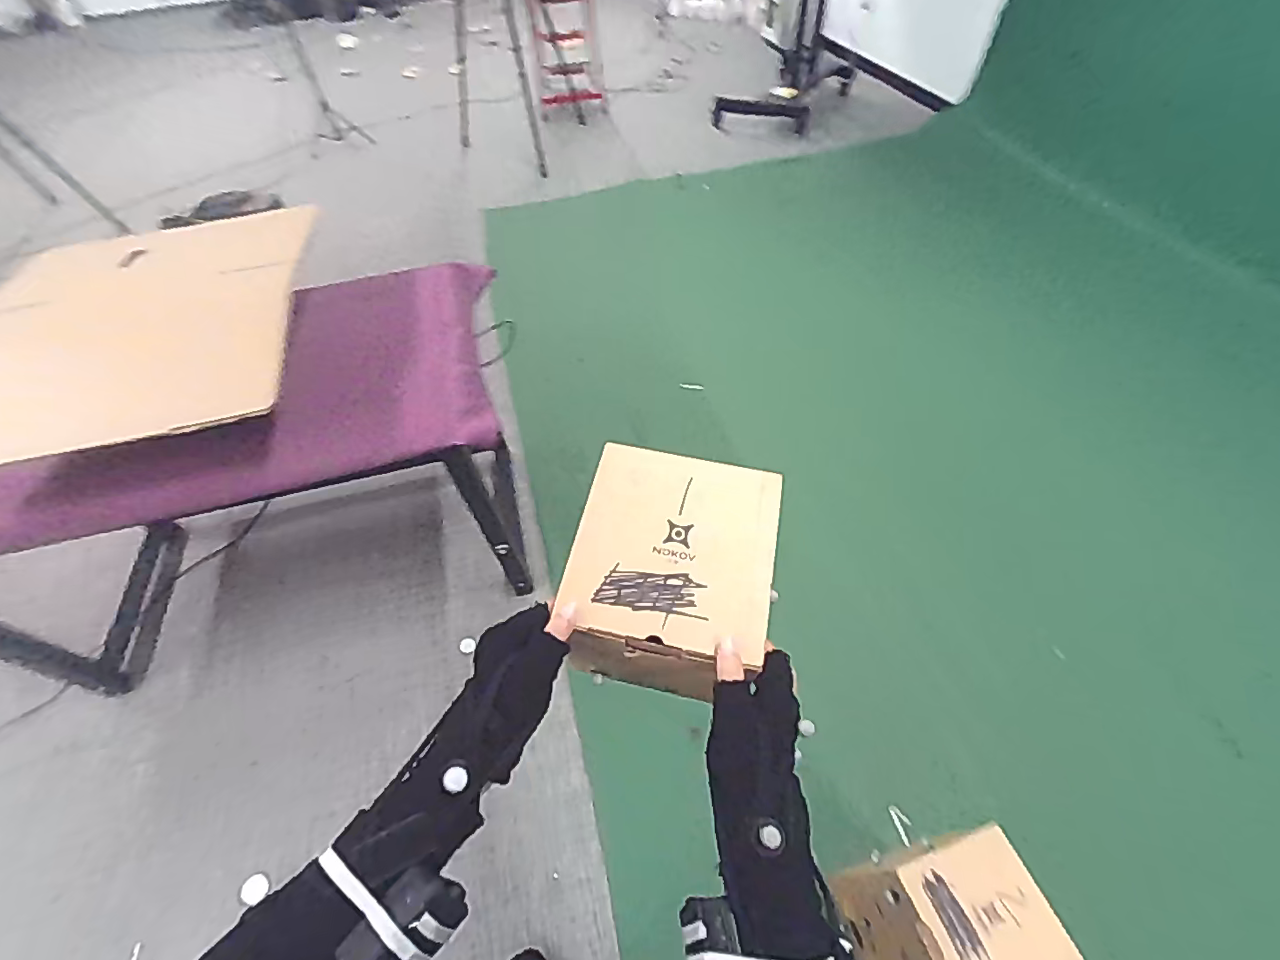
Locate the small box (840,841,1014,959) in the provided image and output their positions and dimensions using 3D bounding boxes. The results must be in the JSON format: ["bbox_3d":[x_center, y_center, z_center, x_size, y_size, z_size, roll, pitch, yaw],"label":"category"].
[{"bbox_3d":[0.472,0.743,0.922,0.179,0.176,0.168,-17,53,-8],"label":"small box"}]

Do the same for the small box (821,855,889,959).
[{"bbox_3d":[0.481,0.845,1.049,0.179,0.176,0.168,-15,52,-8],"label":"small box"}]

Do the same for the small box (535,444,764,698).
[{"bbox_3d":[0.015,0.095,0.522,0.168,0.176,0.179,11,57,6],"label":"small box"}]
